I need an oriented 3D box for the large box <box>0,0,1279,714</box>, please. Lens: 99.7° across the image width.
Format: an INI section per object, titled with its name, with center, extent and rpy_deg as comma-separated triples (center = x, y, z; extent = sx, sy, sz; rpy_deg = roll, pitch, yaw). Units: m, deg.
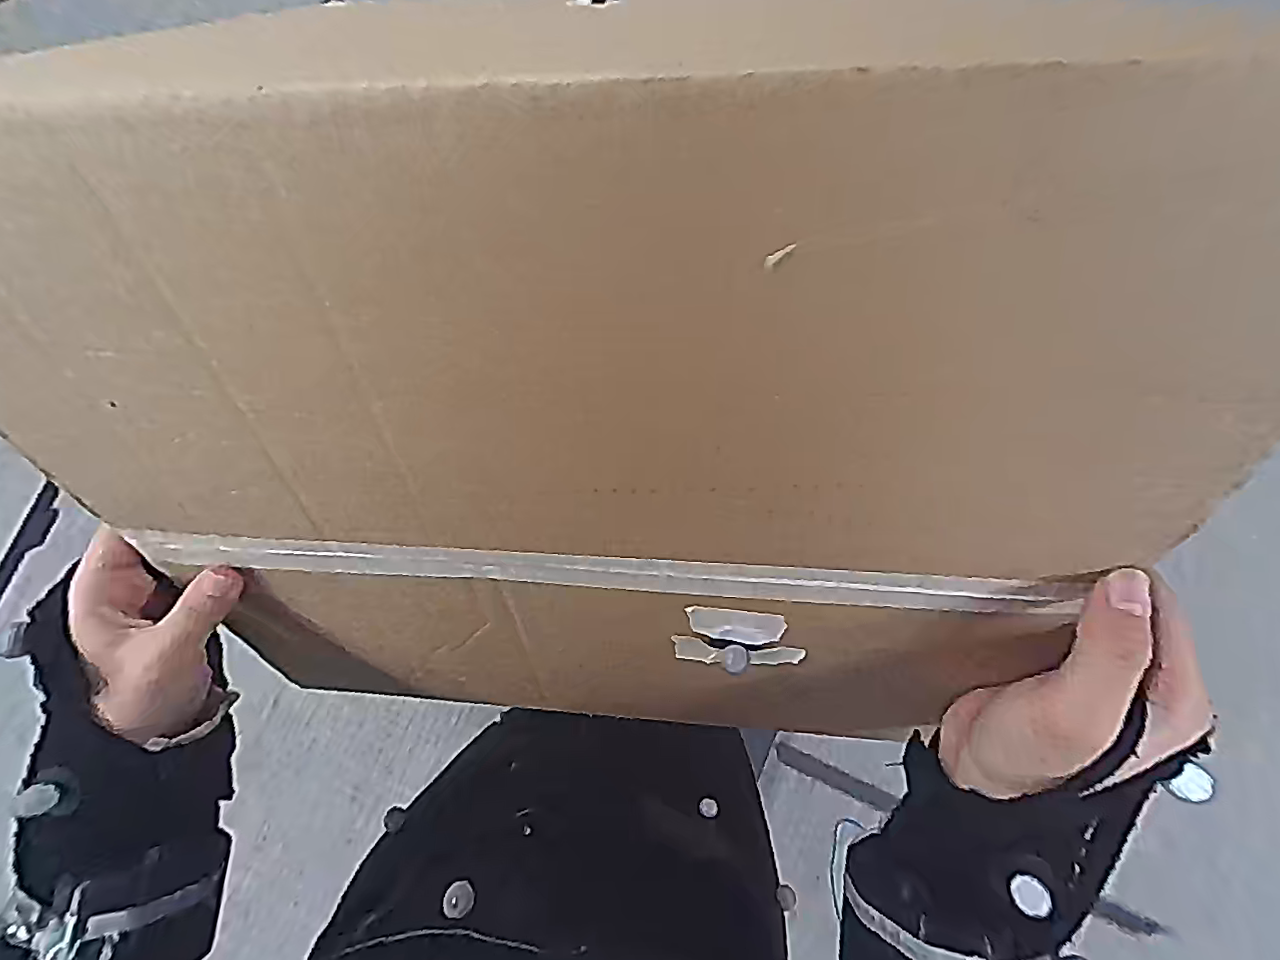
[large box]
center = 0.008, -0.095, 0.316
extent = 0.408, 0.320, 0.320
rpy_deg = 3, 45, 6
